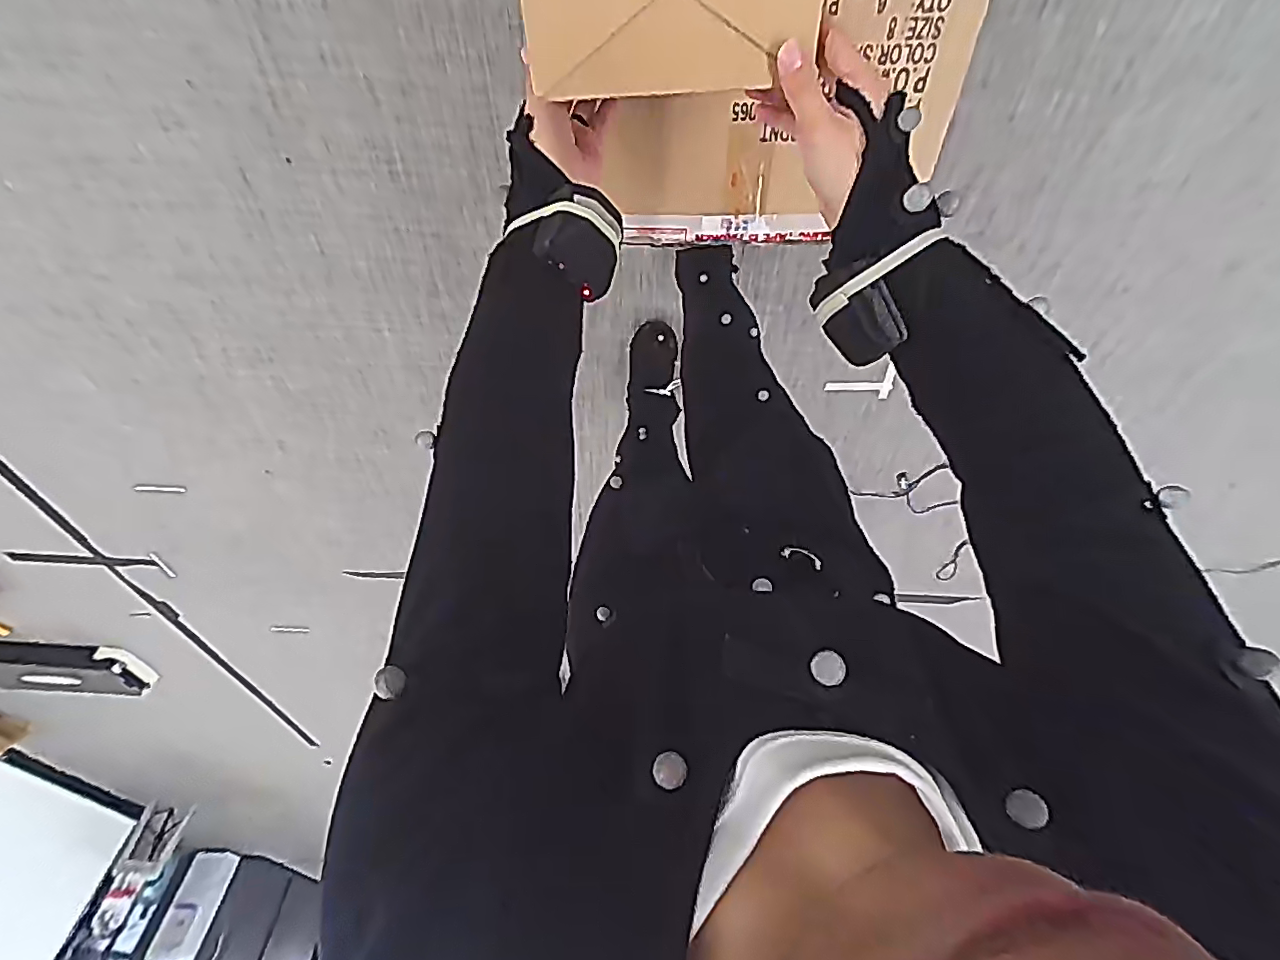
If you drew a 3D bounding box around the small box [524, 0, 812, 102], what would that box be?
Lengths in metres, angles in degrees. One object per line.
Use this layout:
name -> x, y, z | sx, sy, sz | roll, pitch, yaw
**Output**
small box -> 0.014, -0.359, 0.353 | 0.179, 0.176, 0.168 | -4, 131, -1
